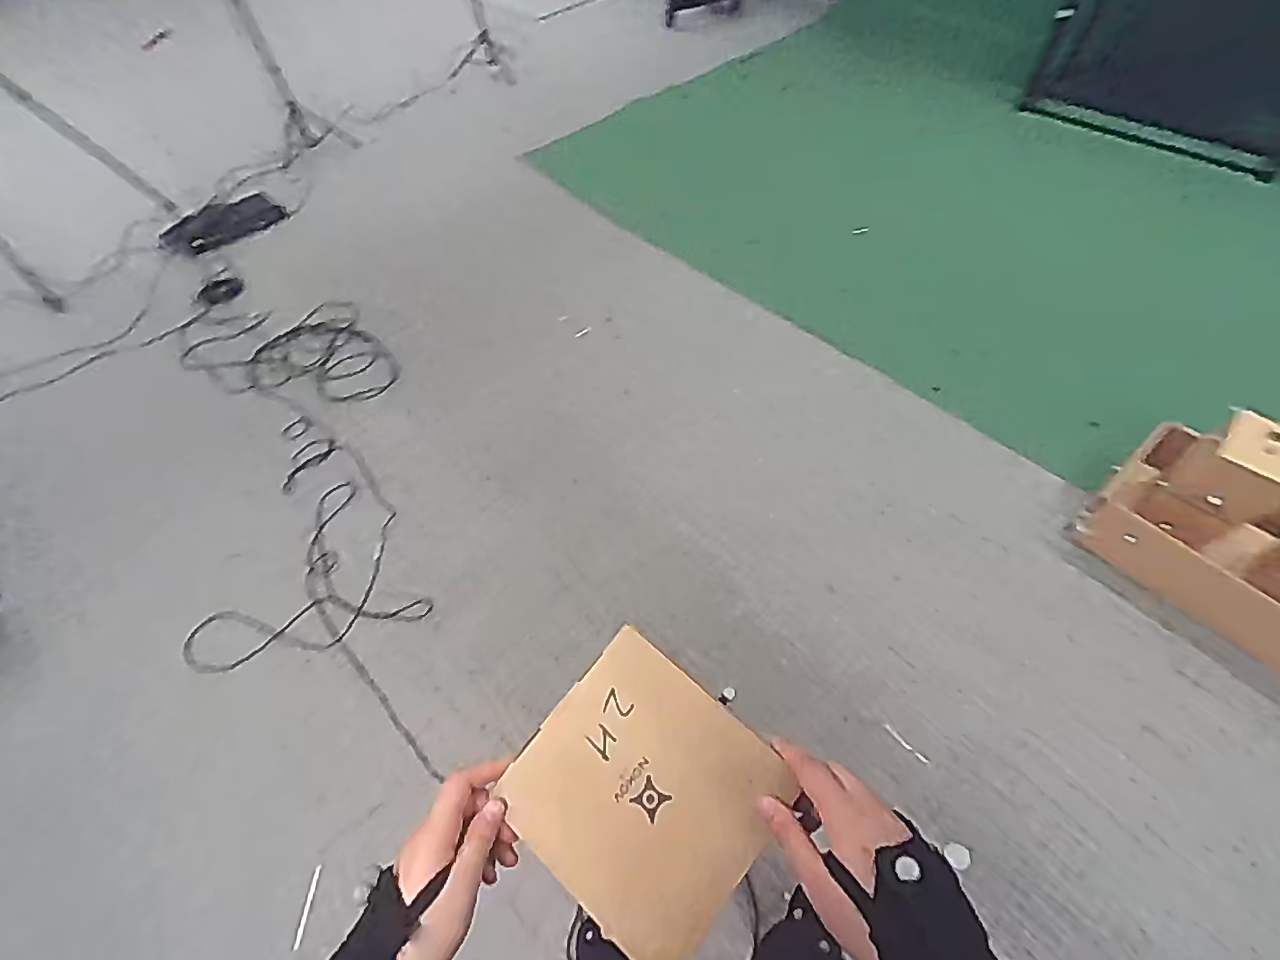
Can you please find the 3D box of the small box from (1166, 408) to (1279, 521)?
[{"bbox_3d":[1.448,-0.034,1.315,0.168,0.176,0.179,36,68,24],"label":"small box"}]

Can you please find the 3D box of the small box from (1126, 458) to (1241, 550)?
[{"bbox_3d":[1.472,0.052,1.454,0.168,0.176,0.179,38,68,24],"label":"small box"}]

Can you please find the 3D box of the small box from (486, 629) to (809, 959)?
[{"bbox_3d":[0.011,0.251,0.460,0.179,0.176,0.168,38,77,18],"label":"small box"}]
